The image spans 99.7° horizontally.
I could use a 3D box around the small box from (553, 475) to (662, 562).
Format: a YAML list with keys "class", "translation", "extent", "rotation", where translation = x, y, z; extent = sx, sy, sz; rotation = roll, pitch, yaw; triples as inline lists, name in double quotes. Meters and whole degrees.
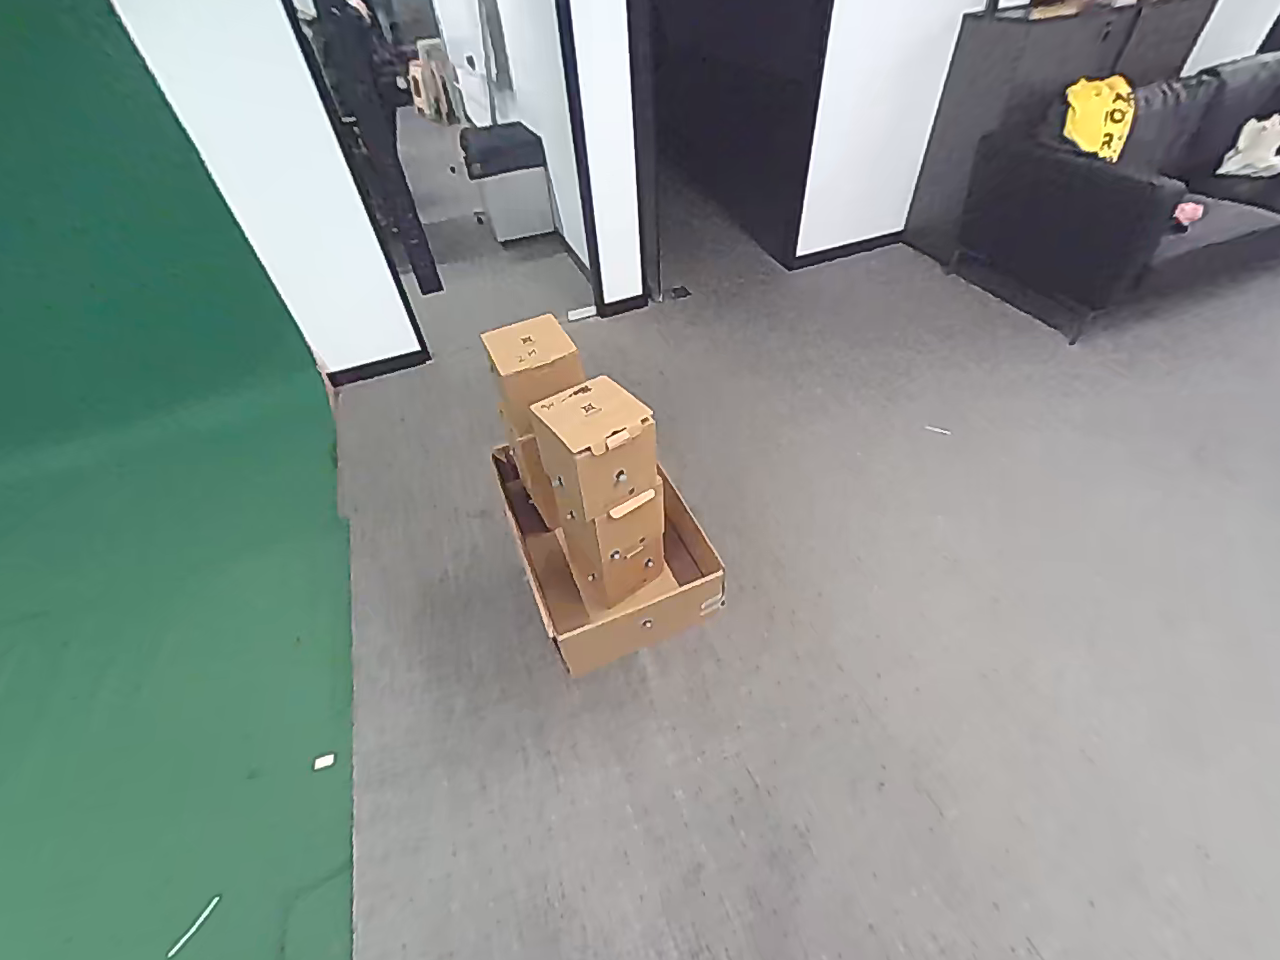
- class: "small box"
  translation: [-0.063, 0.051, 1.151]
  extent: [0.168, 0.176, 0.179]
  rotation: [-29, 50, -23]

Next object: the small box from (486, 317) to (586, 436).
- class: "small box"
  translation: [-0.224, -0.228, 1.199]
  extent: [0.168, 0.176, 0.179]
  rotation: [-22, 50, -14]

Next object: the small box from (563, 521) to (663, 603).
- class: "small box"
  translation: [-0.057, 0.163, 1.270]
  extent: [0.168, 0.176, 0.179]
  rotation: [-29, 50, -22]

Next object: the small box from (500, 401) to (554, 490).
- class: "small box"
  translation: [-0.215, -0.107, 1.311]
  extent: [0.179, 0.176, 0.168]
  rotation: [-23, 50, -15]

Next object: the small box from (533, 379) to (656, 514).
- class: "small box"
  translation: [-0.081, -0.057, 1.028]
  extent: [0.168, 0.176, 0.179]
  rotation: [-27, 51, -22]
